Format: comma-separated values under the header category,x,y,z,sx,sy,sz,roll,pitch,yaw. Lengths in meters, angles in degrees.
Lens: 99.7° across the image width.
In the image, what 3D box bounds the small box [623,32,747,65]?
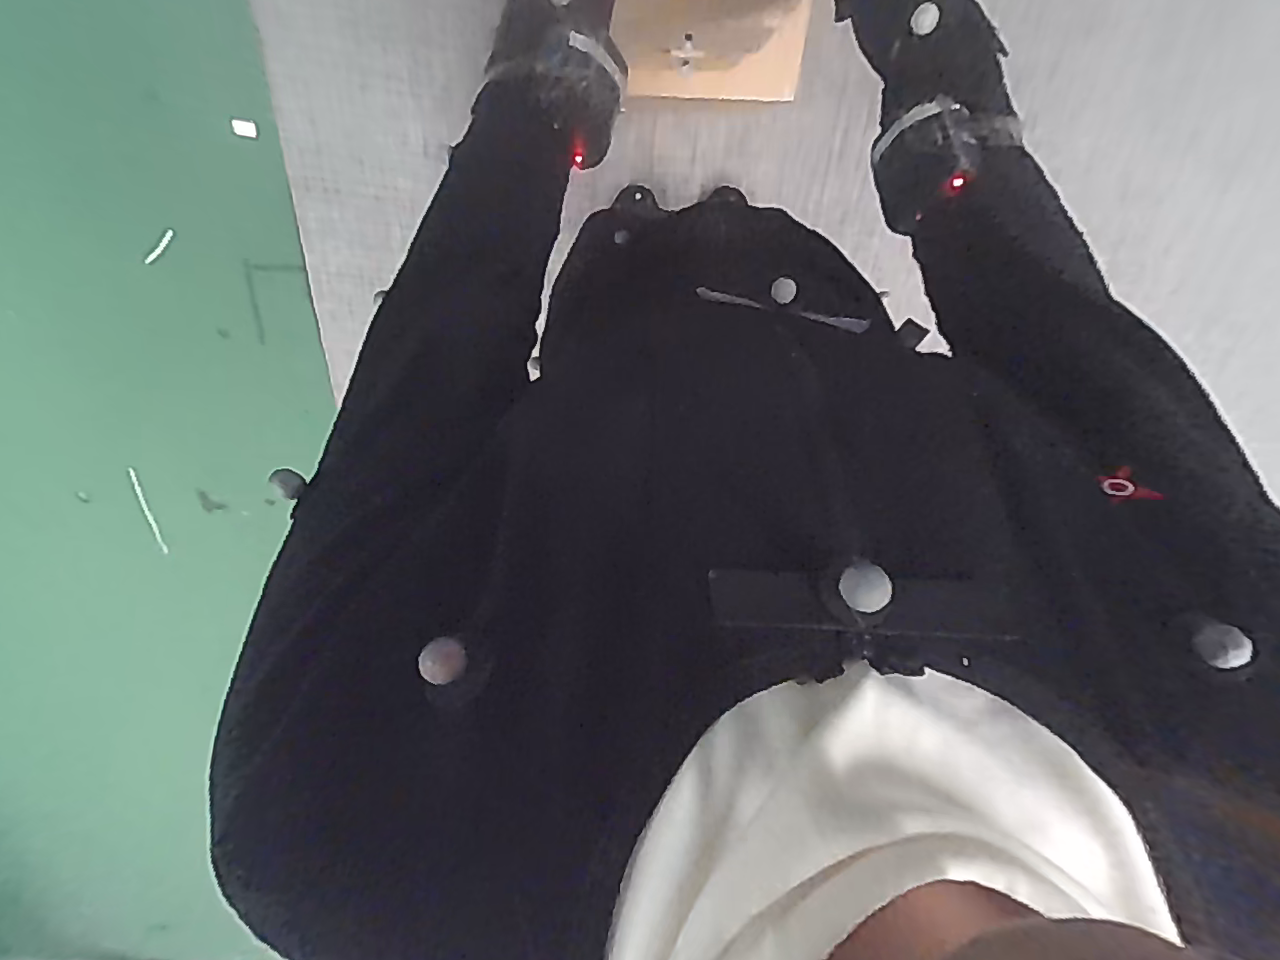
category,x,y,z,sx,sy,sz,roll,pitch,yaw
small box,0.066,-0.675,0.727,0.168,0.176,0.179,2,121,1

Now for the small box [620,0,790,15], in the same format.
category,x,y,z,sx,sy,sz,roll,pitch,yaw
small box,0.063,-0.501,0.424,0.179,0.176,0.168,0,111,0

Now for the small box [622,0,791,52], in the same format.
category,x,y,z,sx,sy,sz,roll,pitch,yaw
small box,0.069,-0.586,0.589,0.179,0.176,0.168,0,121,1
